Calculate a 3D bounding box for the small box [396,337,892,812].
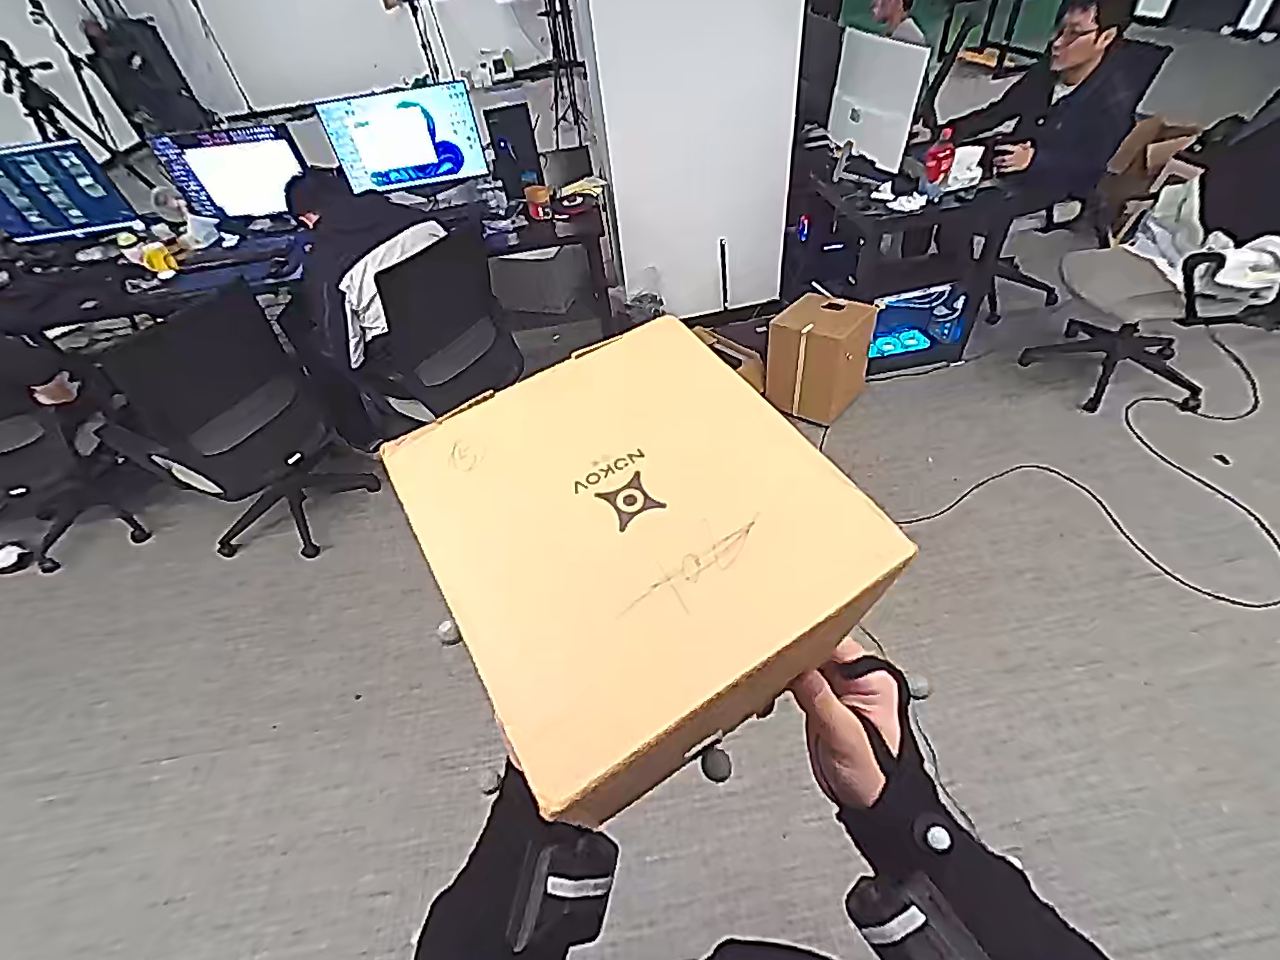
[{"bbox_3d":[-0.004,0.058,0.310,0.168,0.176,0.179,-29,59,-15],"label":"small box"}]
